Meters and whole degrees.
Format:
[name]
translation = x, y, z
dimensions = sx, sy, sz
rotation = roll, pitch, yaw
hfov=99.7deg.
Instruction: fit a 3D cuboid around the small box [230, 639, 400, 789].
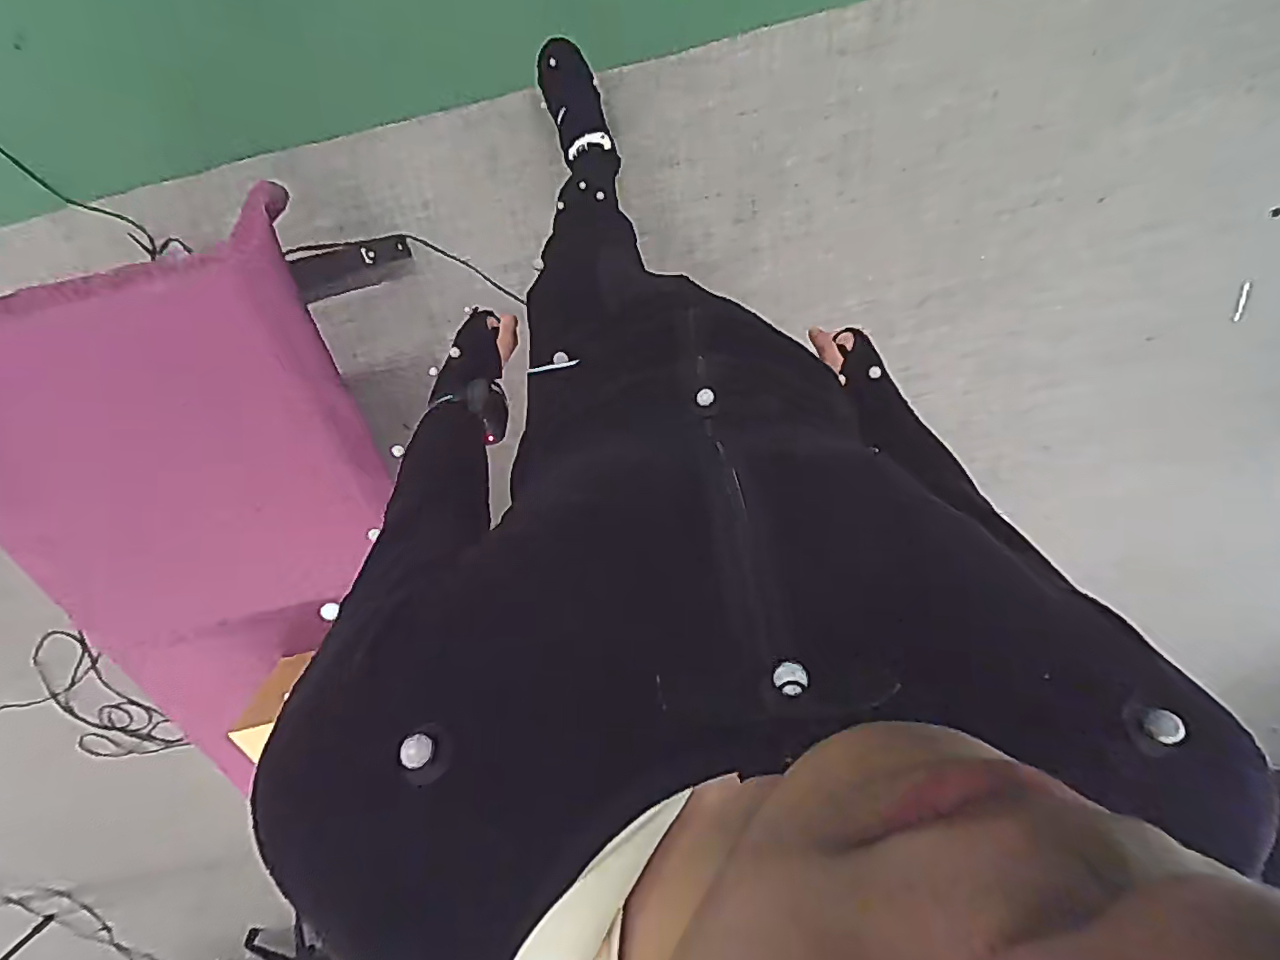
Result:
[small box]
translation = -0.576, 0.421, 0.987
dimensions = 0.179, 0.176, 0.168
rotation = -15, 117, 4
